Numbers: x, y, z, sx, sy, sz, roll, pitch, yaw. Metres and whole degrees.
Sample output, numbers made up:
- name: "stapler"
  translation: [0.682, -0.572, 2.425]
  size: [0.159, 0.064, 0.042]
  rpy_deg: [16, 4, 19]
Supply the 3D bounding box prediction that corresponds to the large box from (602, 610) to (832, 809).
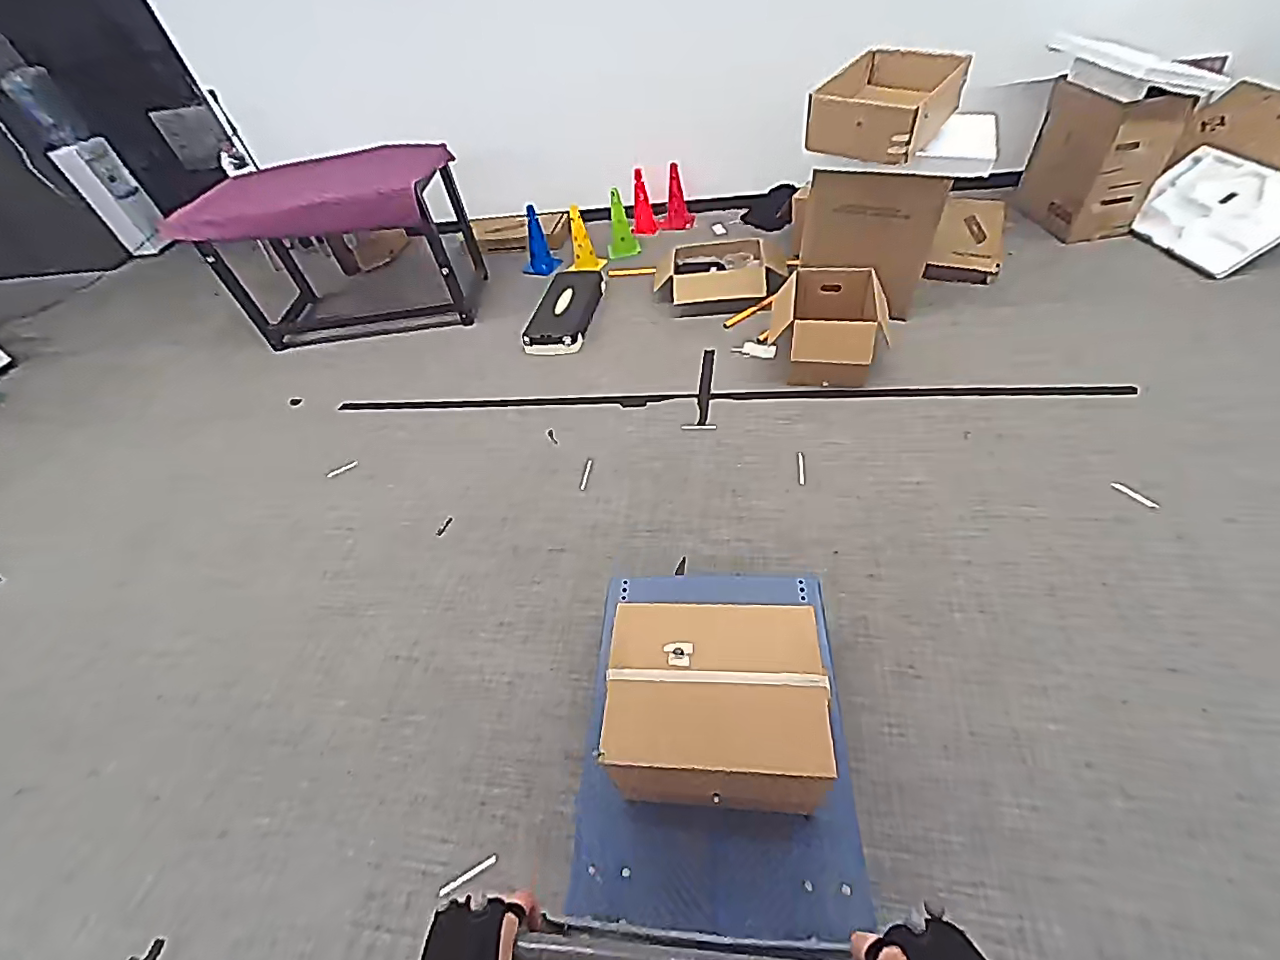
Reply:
- name: "large box"
  translation: [0.160, 0.488, 1.142]
  size: [0.408, 0.320, 0.320]
  rpy_deg: [-3, 47, 9]
